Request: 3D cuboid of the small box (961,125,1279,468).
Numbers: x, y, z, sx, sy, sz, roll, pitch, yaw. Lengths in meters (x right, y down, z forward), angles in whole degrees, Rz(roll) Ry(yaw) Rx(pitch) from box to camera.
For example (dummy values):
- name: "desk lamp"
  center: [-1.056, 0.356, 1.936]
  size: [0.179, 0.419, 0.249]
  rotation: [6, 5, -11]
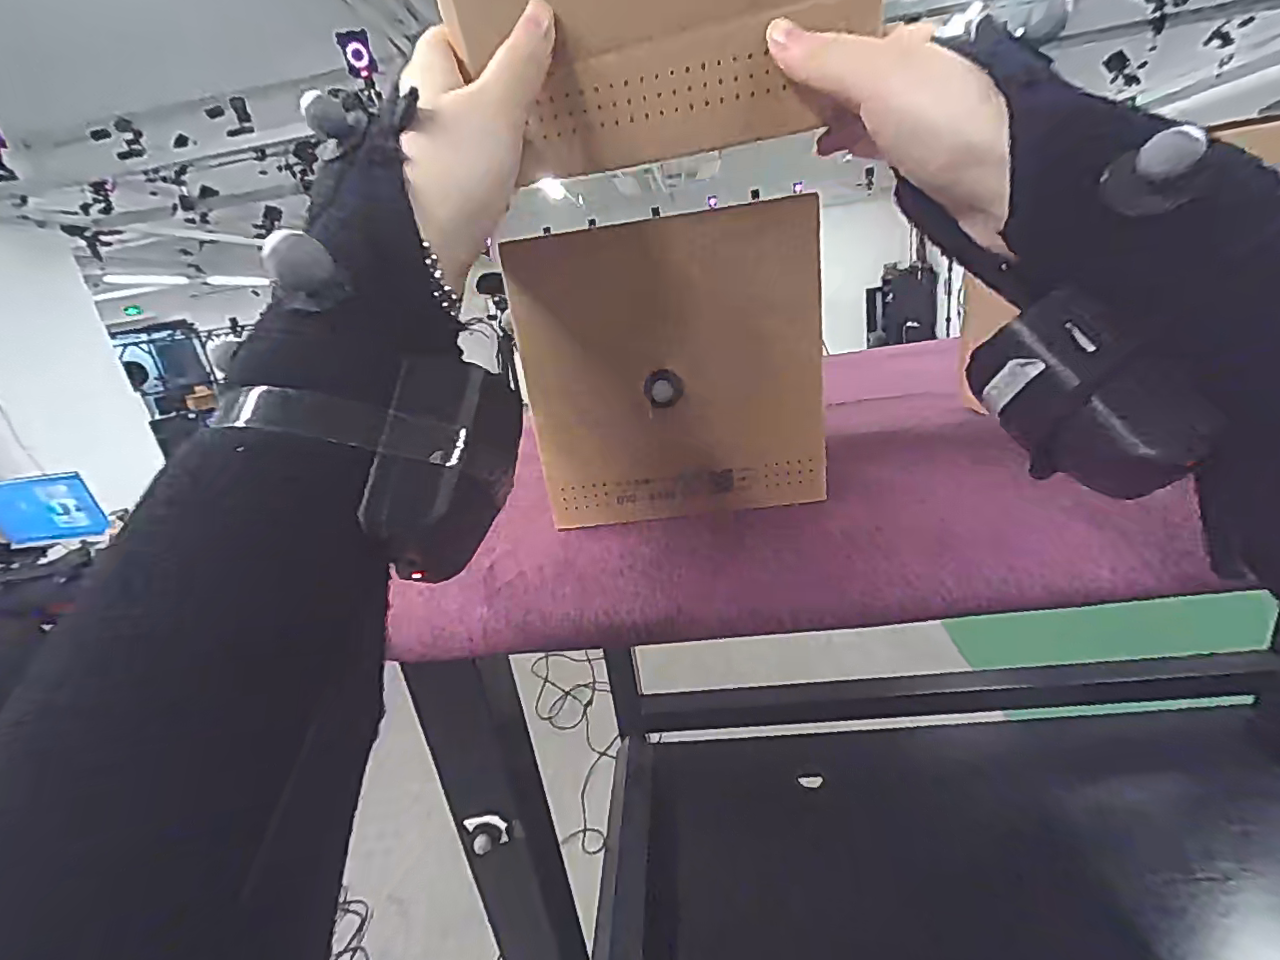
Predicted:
- name: "small box"
  center: [0.338, -0.118, 0.353]
  size: [0.179, 0.176, 0.168]
  rotation: [-8, 19, 5]

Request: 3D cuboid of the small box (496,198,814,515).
- name: "small box"
  center: [0.020, -0.081, 0.377]
  size: [0.168, 0.176, 0.179]
  rotation: [-6, 20, 5]

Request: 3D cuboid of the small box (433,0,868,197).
- name: "small box"
  center: [0.001, -0.245, 0.260]
  size: [0.179, 0.176, 0.168]
  rotation: [-7, 32, 6]
